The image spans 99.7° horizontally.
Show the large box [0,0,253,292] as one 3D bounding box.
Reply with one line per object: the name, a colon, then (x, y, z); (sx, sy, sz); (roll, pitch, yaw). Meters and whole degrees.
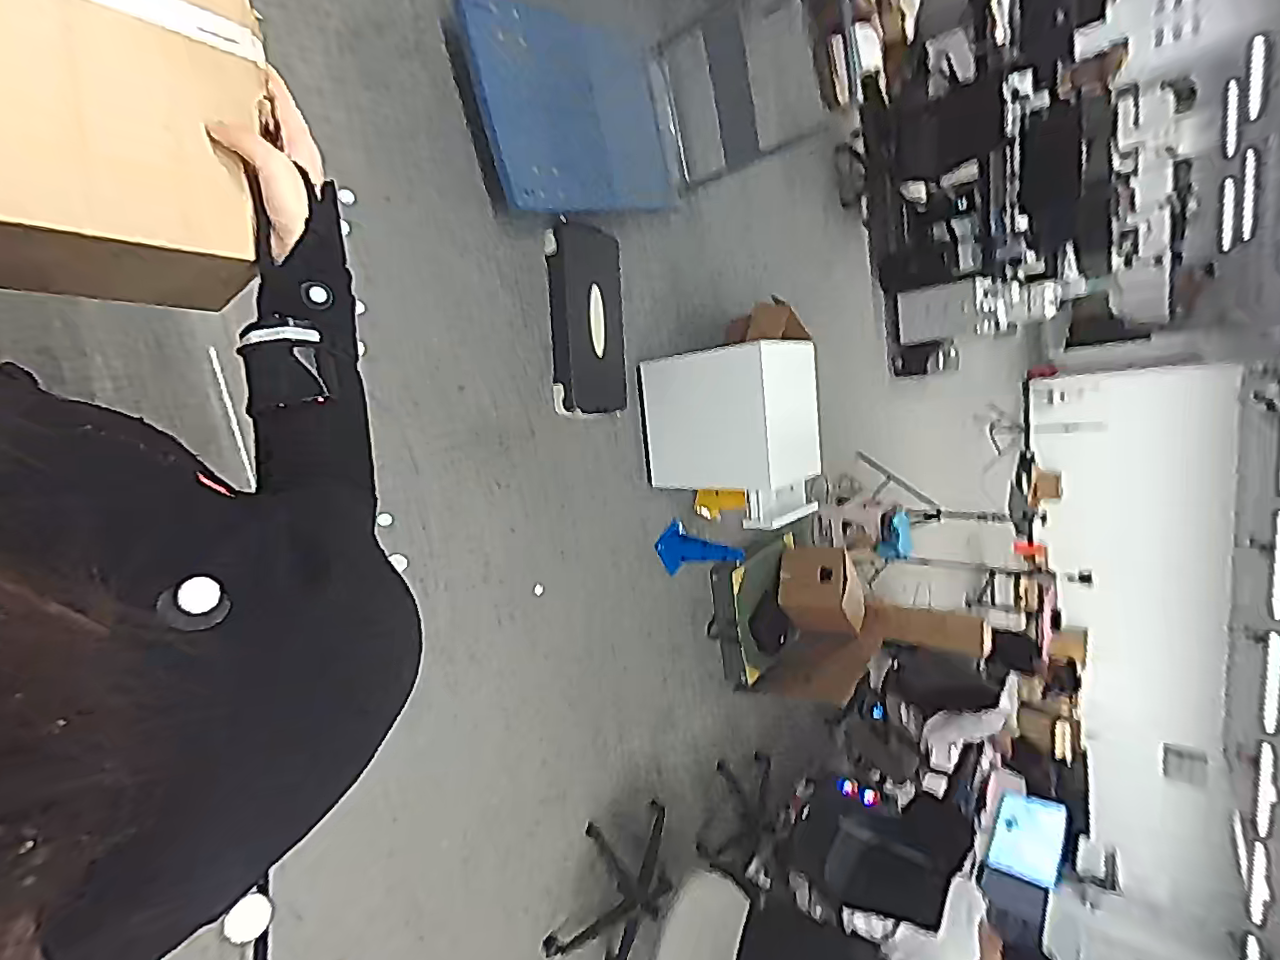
large box: (-0.560, -0.332, 0.391); (0.408, 0.320, 0.320); (-8, 101, -42)
